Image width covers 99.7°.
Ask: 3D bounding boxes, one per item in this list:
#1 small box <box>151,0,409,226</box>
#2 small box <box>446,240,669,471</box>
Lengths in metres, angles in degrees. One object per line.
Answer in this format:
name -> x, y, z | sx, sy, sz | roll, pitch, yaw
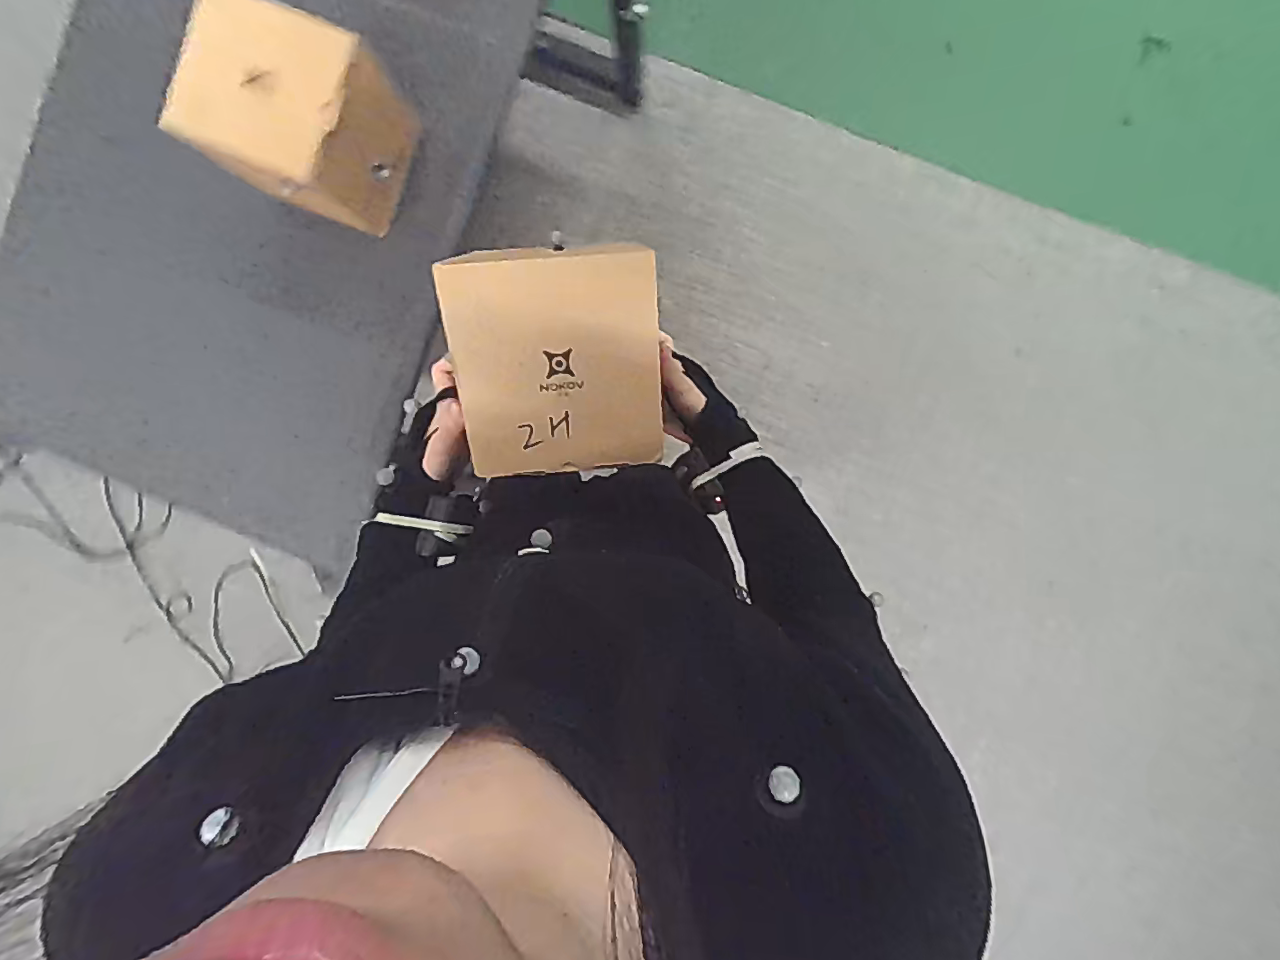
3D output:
small box -> -0.420, -0.440, 0.659 | 0.179, 0.176, 0.168 | 20, 95, -1
small box -> -0.066, -0.125, 0.500 | 0.168, 0.176, 0.179 | -4, 117, -4
